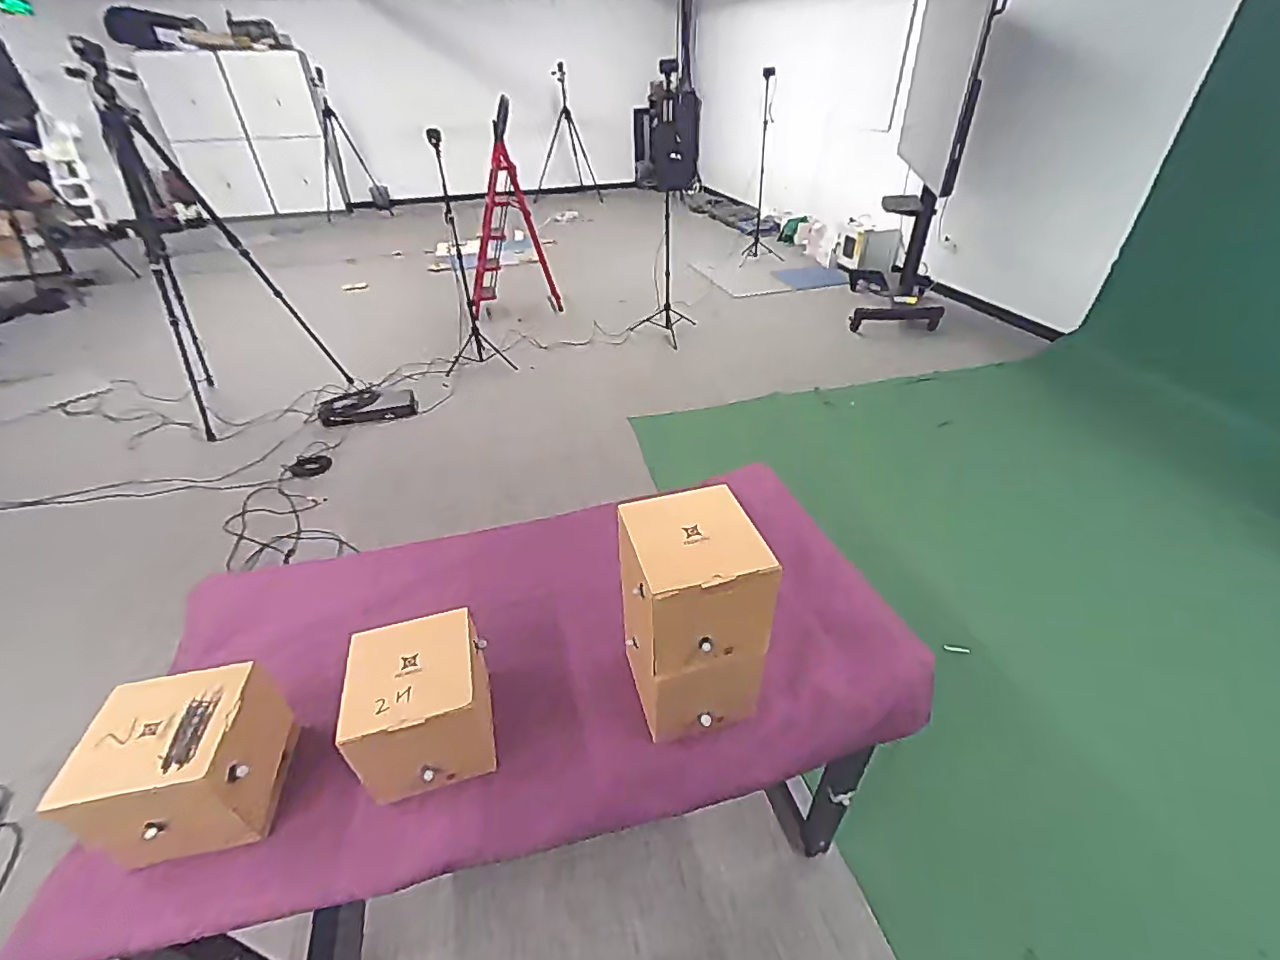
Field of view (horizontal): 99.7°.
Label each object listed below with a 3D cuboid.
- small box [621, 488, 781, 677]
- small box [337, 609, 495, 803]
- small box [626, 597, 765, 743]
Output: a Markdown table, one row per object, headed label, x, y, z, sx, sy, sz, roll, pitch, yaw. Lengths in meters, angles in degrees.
| label | x | y | z | sx | sy | sz | roll | pitch | yaw |
| --- | --- | --- | --- | --- | --- | --- | --- | --- | --- |
| small box | 0.072 | 0.138 | 0.751 | 0.168 | 0.176 | 0.179 | -11 | 38 | -12 |
| small box | -0.312 | 0.323 | 0.783 | 0.168 | 0.176 | 0.179 | -12 | 37 | -13 |
| small box | 0.075 | 0.271 | 0.843 | 0.168 | 0.176 | 0.179 | -11 | 38 | -12 |
